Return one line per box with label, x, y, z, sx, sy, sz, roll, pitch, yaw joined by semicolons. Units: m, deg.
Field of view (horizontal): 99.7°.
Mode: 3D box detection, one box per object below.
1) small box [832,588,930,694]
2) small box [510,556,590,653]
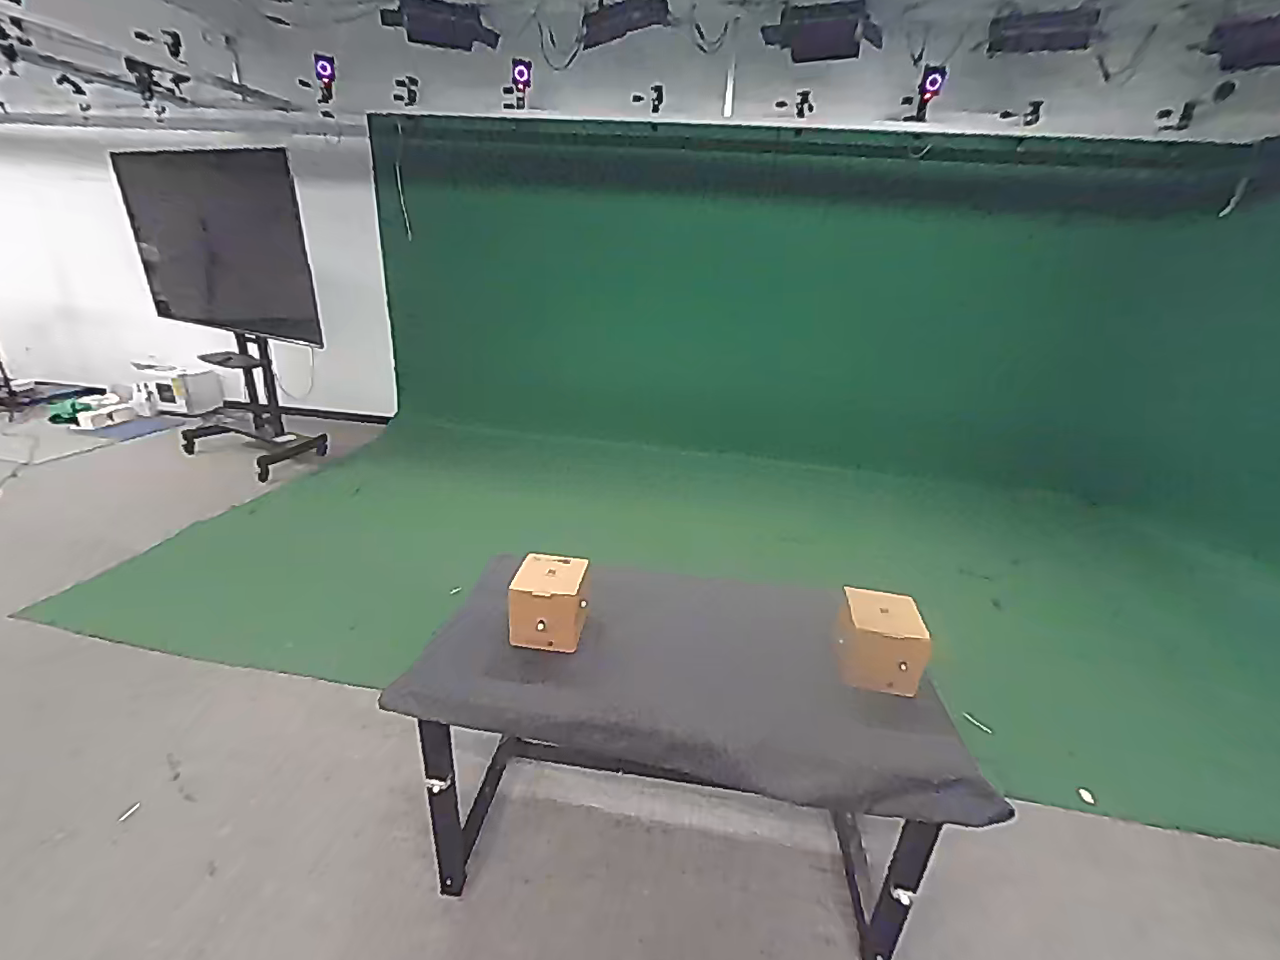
small box;0.577;0.391;1.315;0.168;0.176;0.179;8;21;8
small box;-0.224;0.318;1.386;0.168;0.176;0.179;6;22;4
